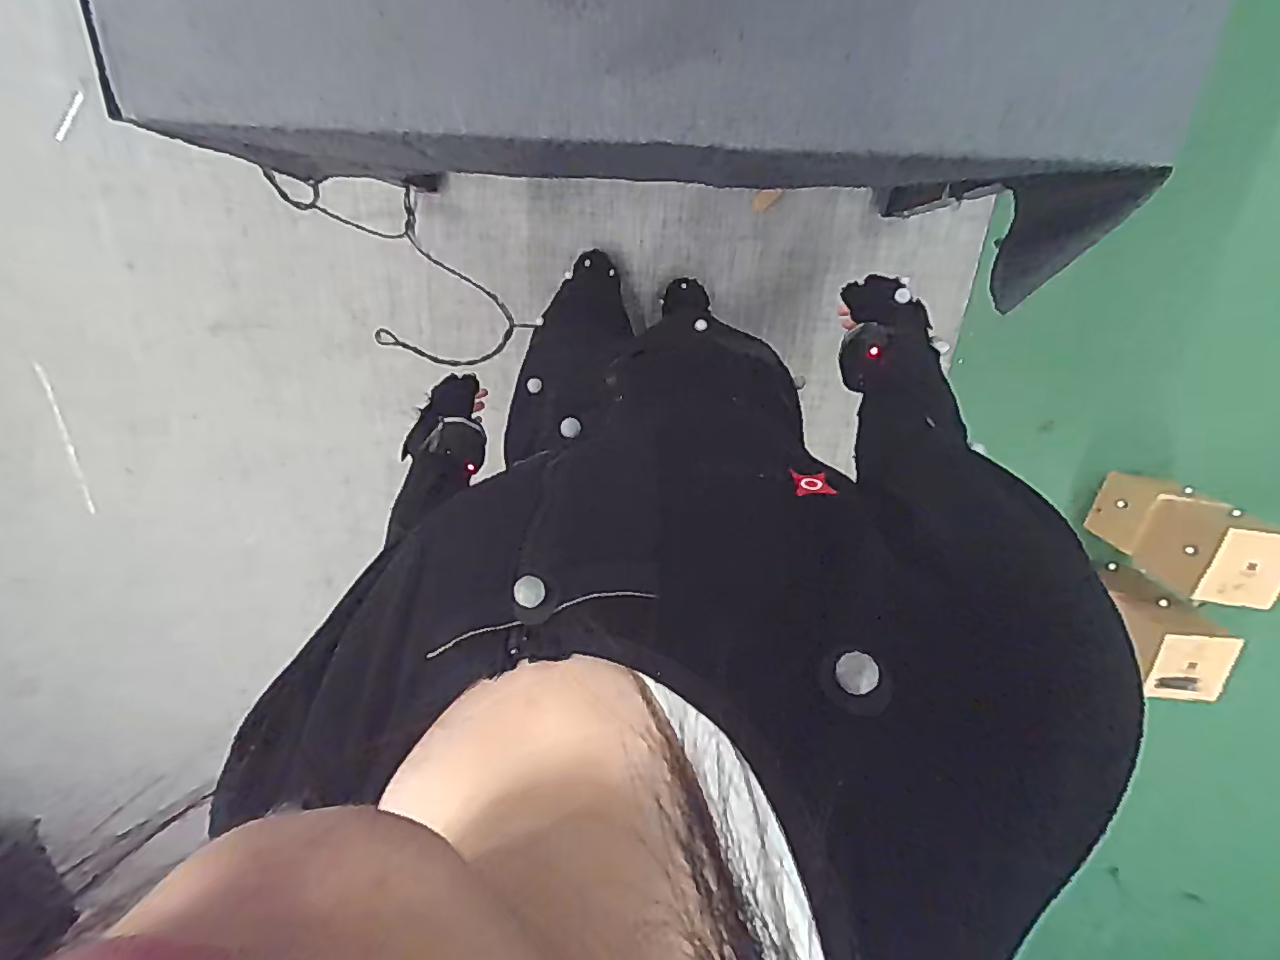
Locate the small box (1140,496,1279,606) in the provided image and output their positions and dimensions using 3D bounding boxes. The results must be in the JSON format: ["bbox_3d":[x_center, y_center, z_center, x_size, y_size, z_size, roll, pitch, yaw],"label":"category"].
[{"bbox_3d":[1.284,0.151,1.203,0.168,0.176,0.179,9,111,2],"label":"small box"}]

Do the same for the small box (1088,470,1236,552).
[{"bbox_3d":[1.289,0.084,1.354,0.179,0.176,0.168,9,111,1],"label":"small box"}]
